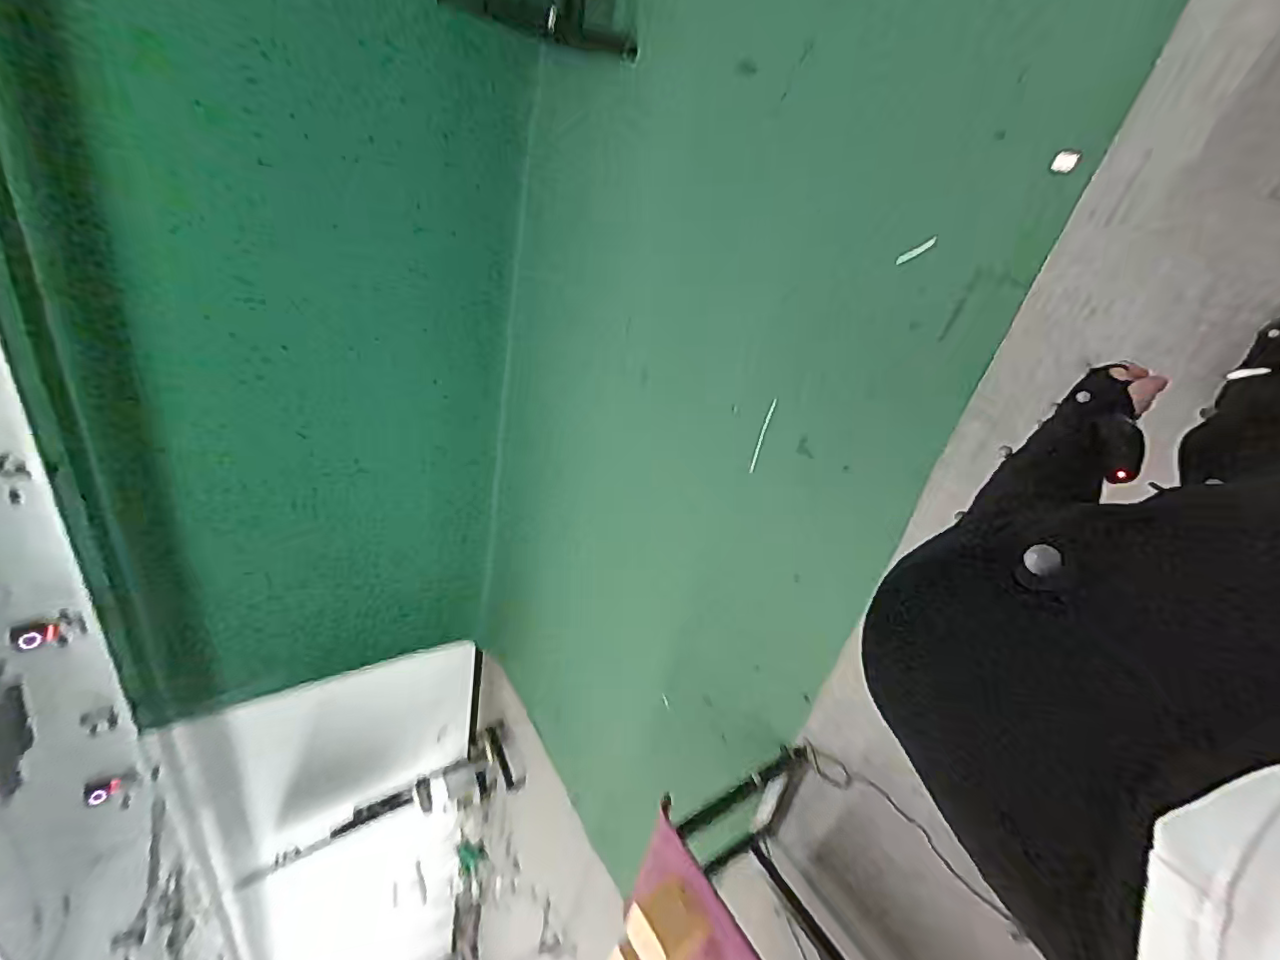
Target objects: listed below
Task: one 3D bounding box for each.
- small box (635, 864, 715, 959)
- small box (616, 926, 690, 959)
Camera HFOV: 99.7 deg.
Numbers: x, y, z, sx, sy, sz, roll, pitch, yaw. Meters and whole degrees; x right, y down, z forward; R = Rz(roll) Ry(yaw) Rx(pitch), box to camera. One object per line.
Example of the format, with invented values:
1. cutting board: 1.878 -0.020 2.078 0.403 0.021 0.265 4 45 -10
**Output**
1. small box: 0.108 1.344 1.664 0.168 0.176 0.179 39 128 40
2. small box: 0.045 1.601 1.818 0.168 0.176 0.179 41 129 40
